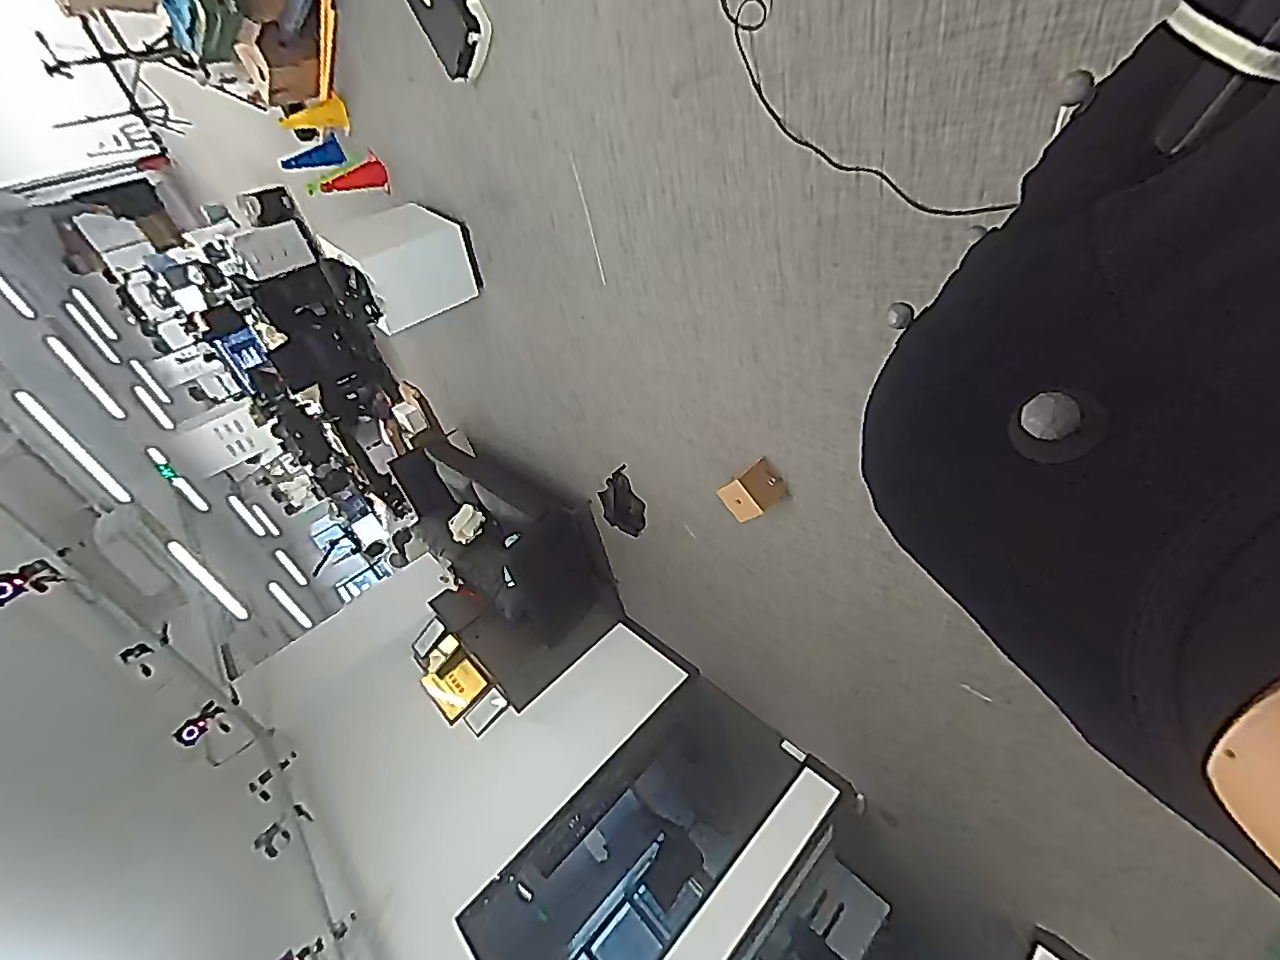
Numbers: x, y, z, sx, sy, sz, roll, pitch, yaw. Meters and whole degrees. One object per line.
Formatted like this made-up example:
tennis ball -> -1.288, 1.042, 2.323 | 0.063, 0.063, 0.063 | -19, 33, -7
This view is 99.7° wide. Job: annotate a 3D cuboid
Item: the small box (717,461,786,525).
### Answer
small box -> 0.449, 0.051, 2.158 | 0.168, 0.176, 0.179 | 52, 152, 1
